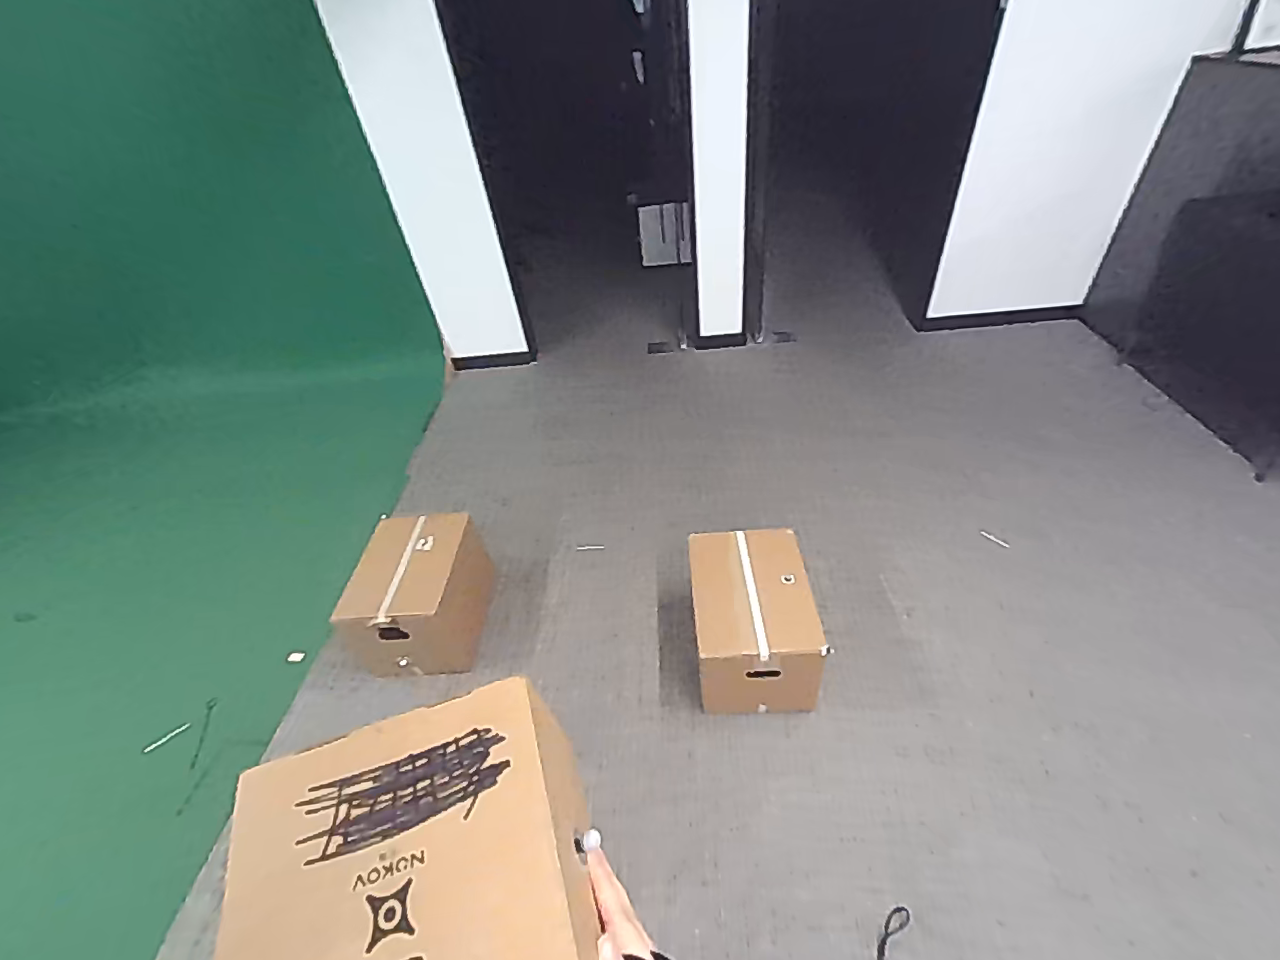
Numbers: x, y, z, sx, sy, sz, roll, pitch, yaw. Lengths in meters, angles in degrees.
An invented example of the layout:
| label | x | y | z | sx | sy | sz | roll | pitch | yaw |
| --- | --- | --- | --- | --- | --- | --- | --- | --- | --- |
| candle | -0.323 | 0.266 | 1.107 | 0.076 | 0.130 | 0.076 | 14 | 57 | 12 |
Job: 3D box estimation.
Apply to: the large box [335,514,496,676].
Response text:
| label | x | y | z | sx | sy | sz | roll | pitch | yaw |
| --- | --- | --- | --- | --- | --- | --- | --- | --- | --- |
| large box | -0.693 | 0.368 | 1.748 | 0.320 | 0.320 | 0.408 | -5 | 41 | 5 |
